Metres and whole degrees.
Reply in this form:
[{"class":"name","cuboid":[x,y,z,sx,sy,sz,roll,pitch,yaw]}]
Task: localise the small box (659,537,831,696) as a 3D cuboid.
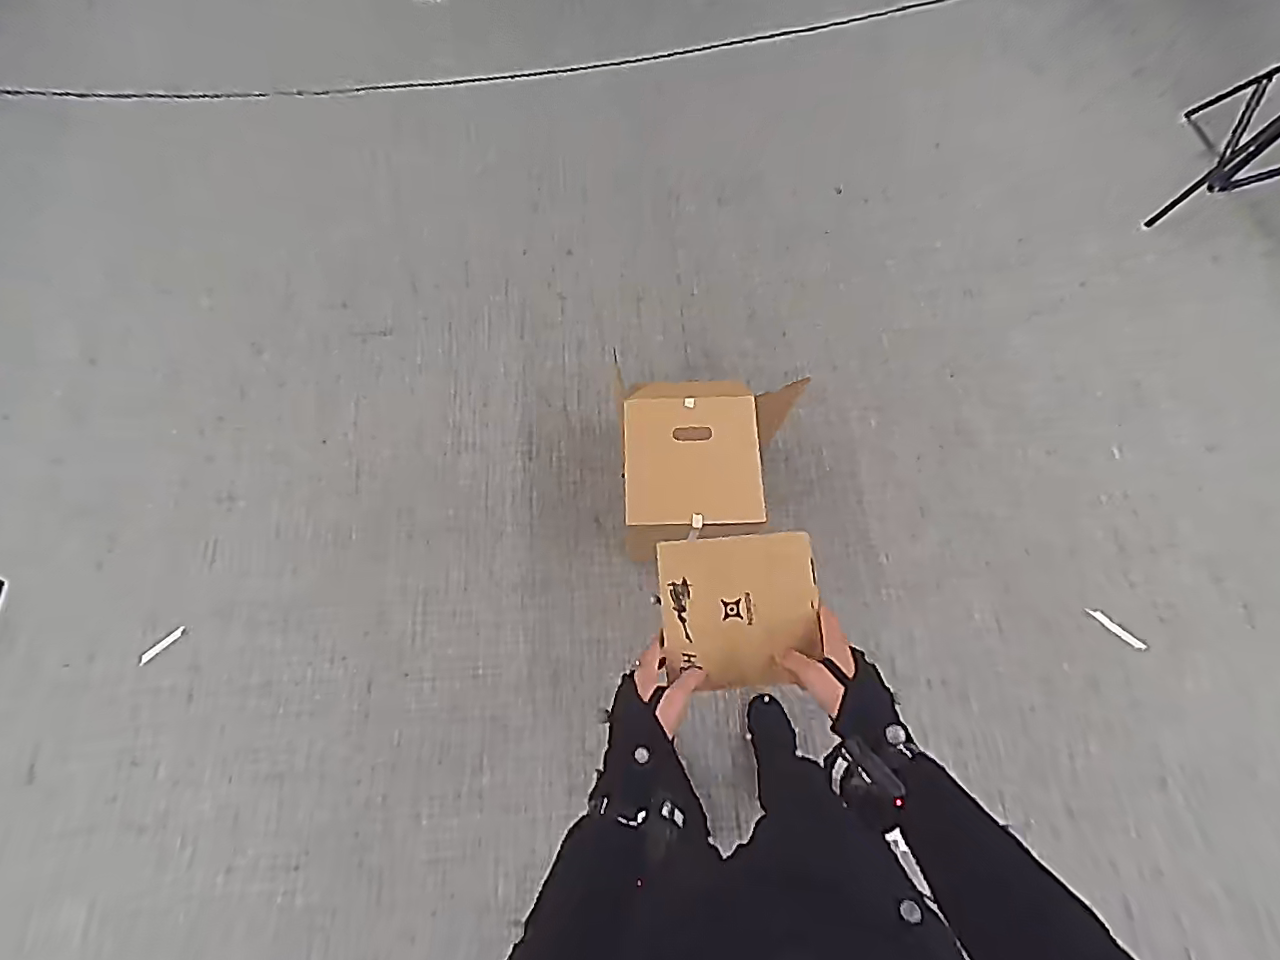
[{"class":"small box","cuboid":[0.116,0.162,0.670,0.179,0.176,0.168,-4,78,2]}]
